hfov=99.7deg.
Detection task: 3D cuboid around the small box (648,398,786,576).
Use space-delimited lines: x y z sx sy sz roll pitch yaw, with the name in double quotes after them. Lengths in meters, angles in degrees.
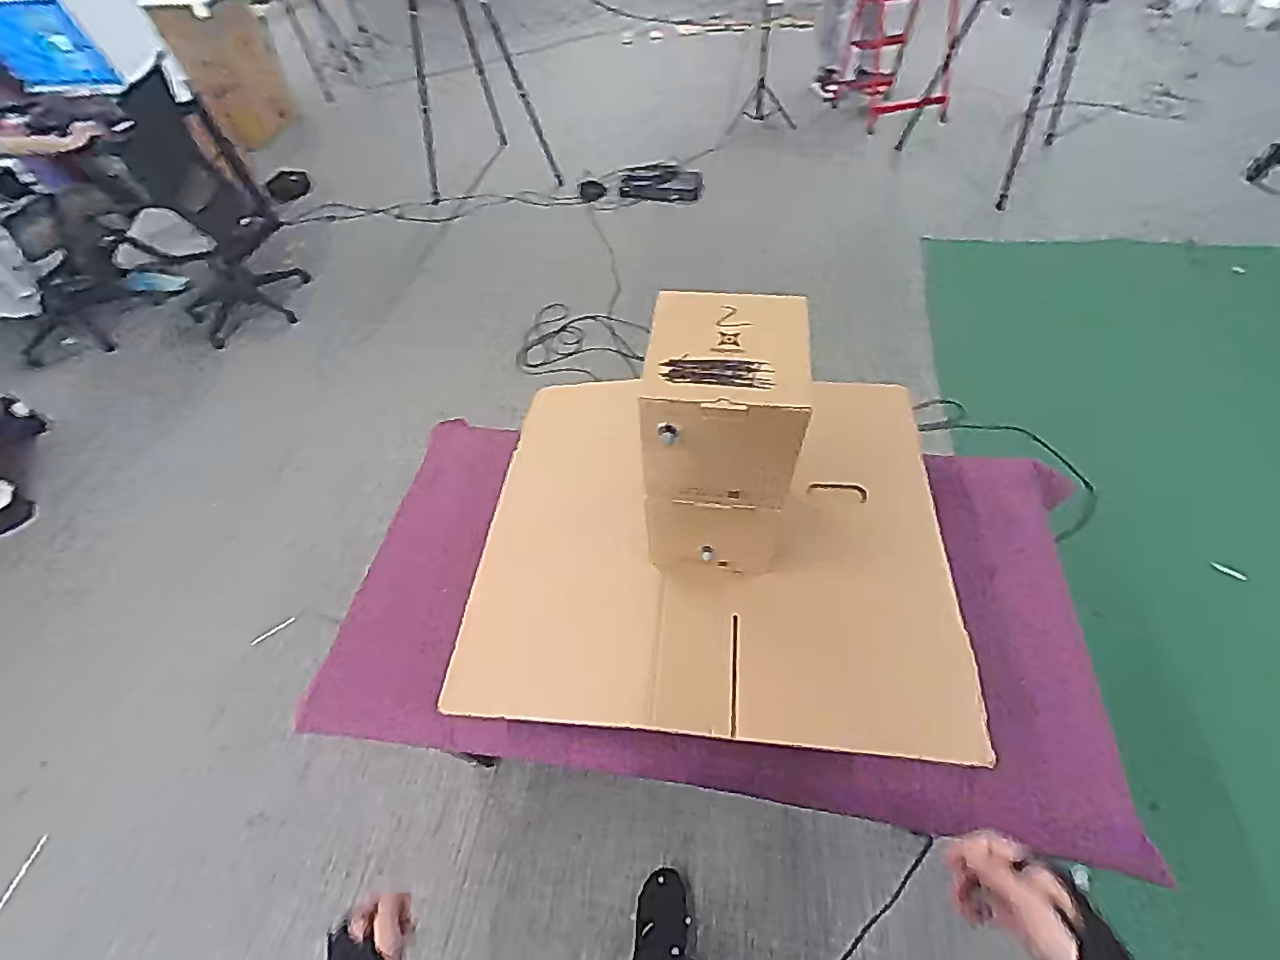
0.106 0.011 0.749 0.168 0.176 0.179 5 55 8 "small box"
